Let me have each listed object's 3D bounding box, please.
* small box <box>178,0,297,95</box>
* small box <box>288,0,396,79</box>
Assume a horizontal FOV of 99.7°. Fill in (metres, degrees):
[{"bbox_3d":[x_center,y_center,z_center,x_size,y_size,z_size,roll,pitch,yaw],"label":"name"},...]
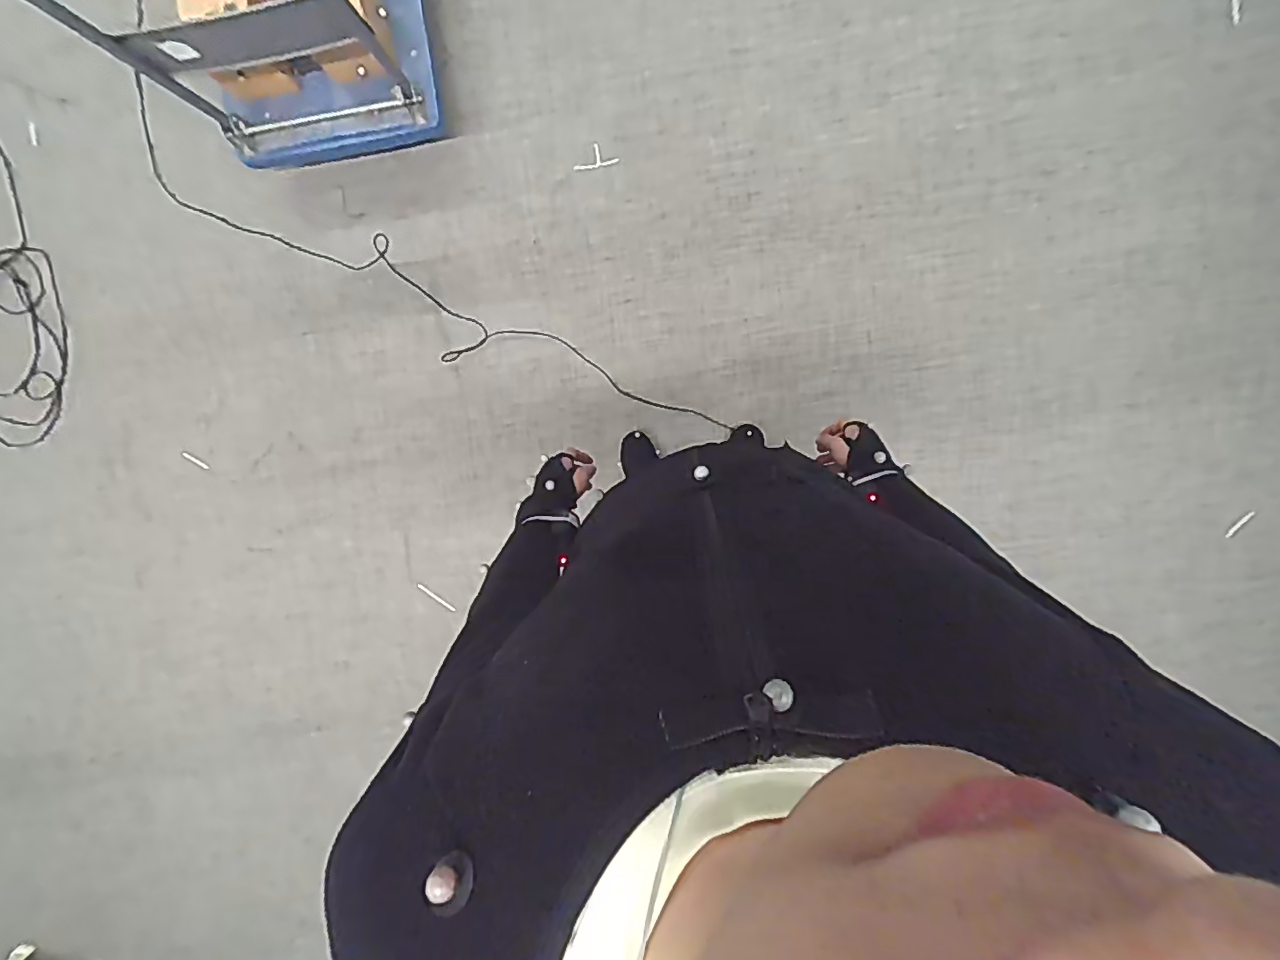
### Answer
[{"bbox_3d":[-0.978,-1.088,1.330,0.179,0.176,0.168,-5,95,4],"label":"small box"},{"bbox_3d":[-0.717,-1.122,1.311,0.179,0.176,0.168,-10,95,4],"label":"small box"}]
